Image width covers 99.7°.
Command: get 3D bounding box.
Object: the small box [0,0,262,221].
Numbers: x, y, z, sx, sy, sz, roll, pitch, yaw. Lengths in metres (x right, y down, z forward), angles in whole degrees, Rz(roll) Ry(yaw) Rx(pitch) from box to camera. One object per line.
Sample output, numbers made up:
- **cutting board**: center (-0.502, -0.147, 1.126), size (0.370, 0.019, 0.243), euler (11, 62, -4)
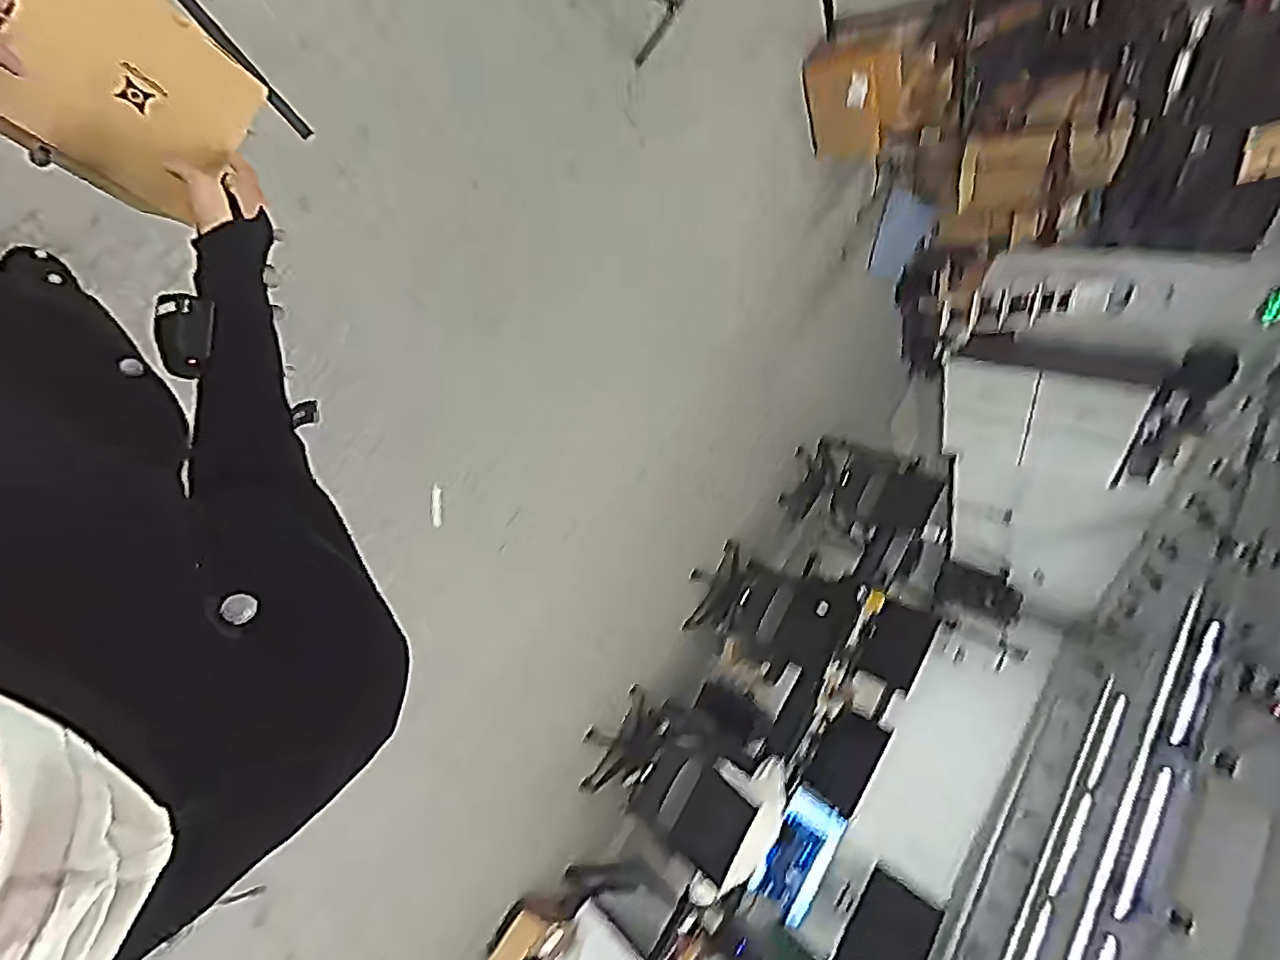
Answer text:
- **small box**: center (-0.535, -0.393, 0.543), size (0.168, 0.176, 0.179), euler (30, 82, -59)
